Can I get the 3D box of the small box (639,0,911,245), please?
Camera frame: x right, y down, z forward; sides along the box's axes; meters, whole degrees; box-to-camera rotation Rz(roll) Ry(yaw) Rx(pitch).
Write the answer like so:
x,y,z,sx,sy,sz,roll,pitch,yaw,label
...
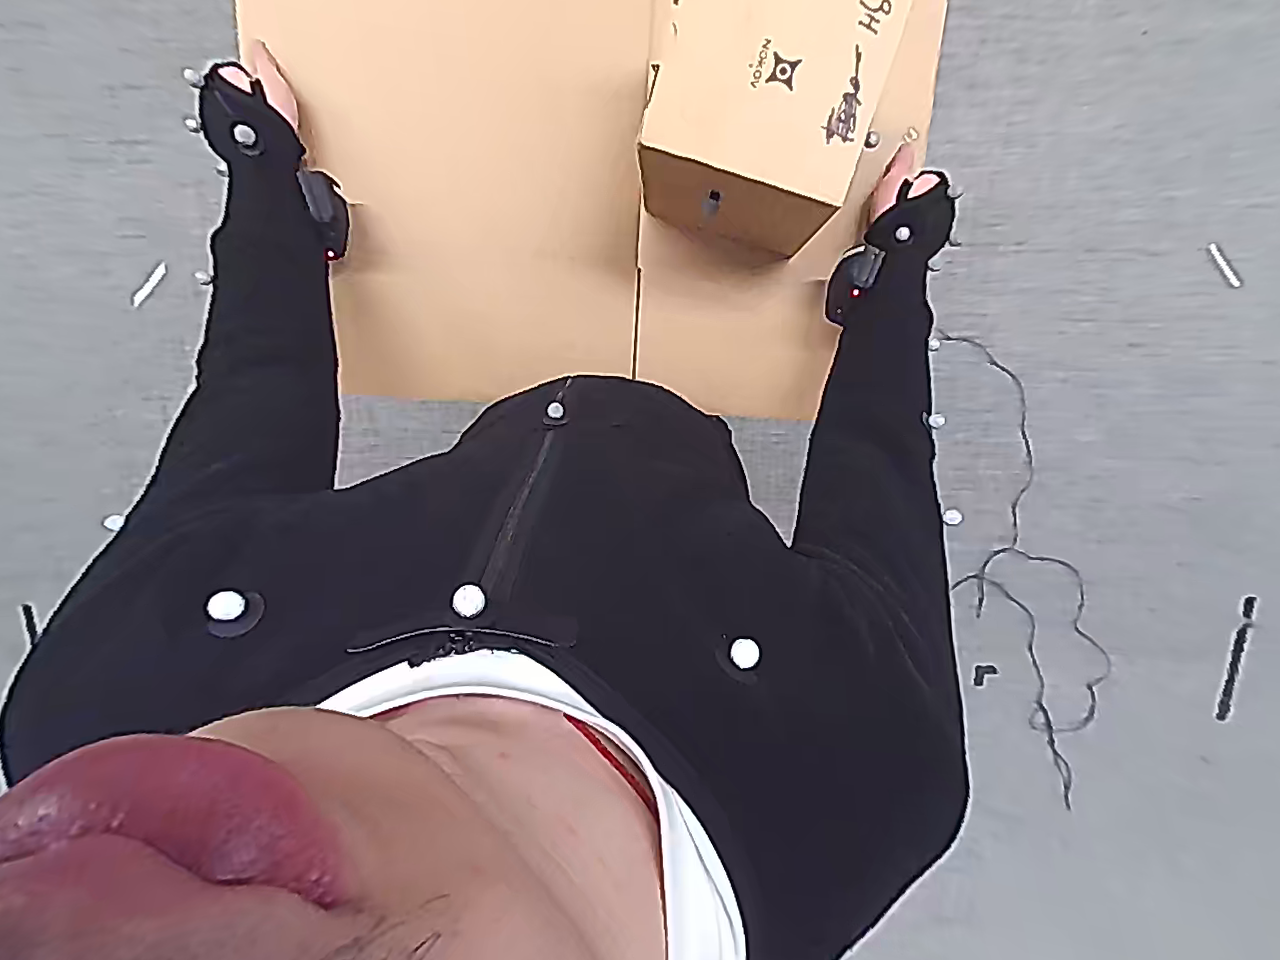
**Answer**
x,y,z,sx,sy,sz,roll,pitch,yaw,label
0.110,-0.342,0.505,0.179,0.176,0.168,18,100,0,small box
